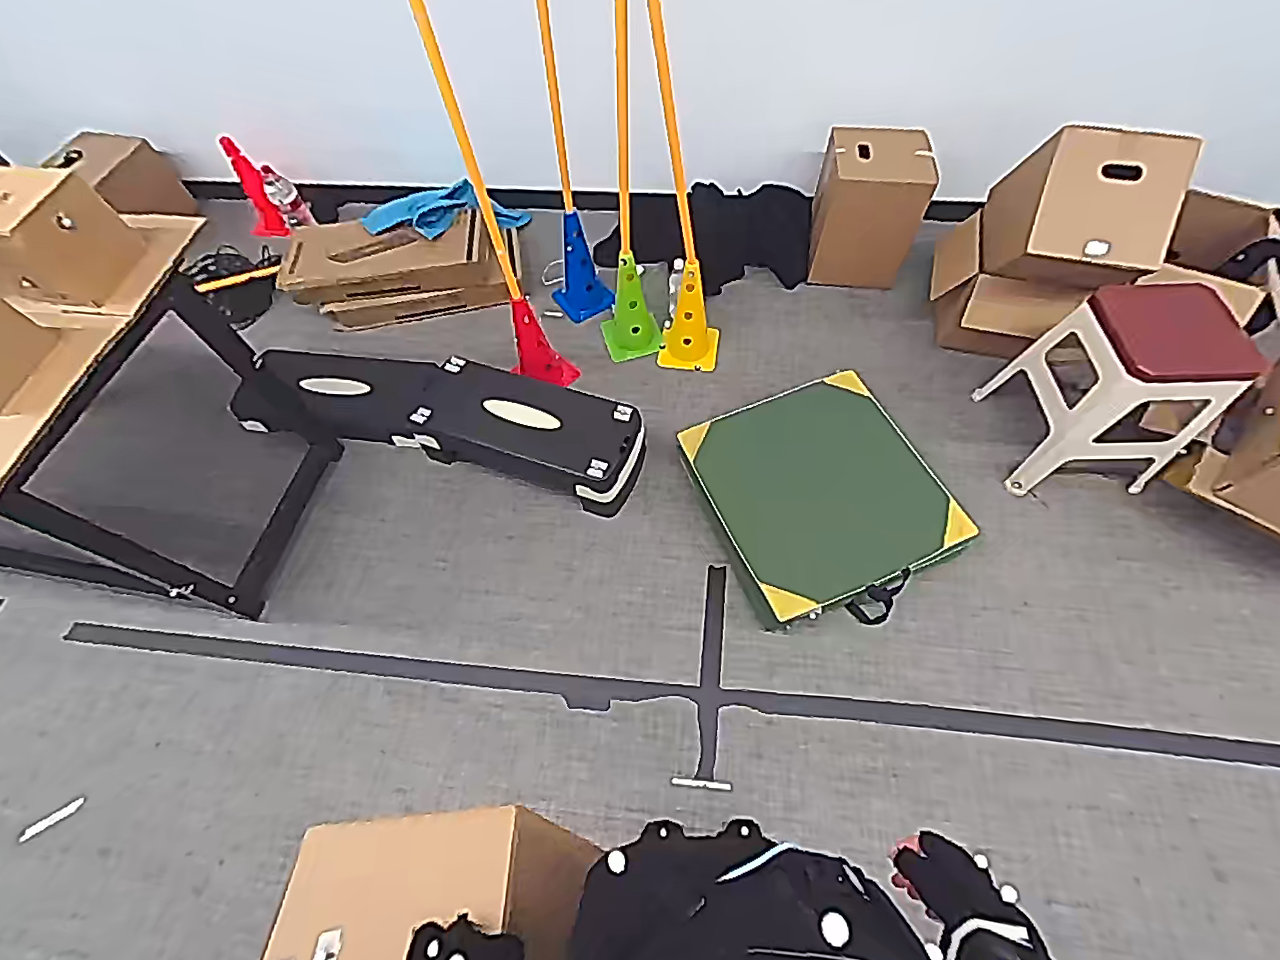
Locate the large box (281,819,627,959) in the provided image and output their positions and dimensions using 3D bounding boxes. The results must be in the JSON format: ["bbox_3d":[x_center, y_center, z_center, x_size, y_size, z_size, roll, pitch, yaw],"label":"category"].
[{"bbox_3d":[-0.228,0.681,0.733,0.320,0.408,0.320,-10,46,13],"label":"large box"}]
